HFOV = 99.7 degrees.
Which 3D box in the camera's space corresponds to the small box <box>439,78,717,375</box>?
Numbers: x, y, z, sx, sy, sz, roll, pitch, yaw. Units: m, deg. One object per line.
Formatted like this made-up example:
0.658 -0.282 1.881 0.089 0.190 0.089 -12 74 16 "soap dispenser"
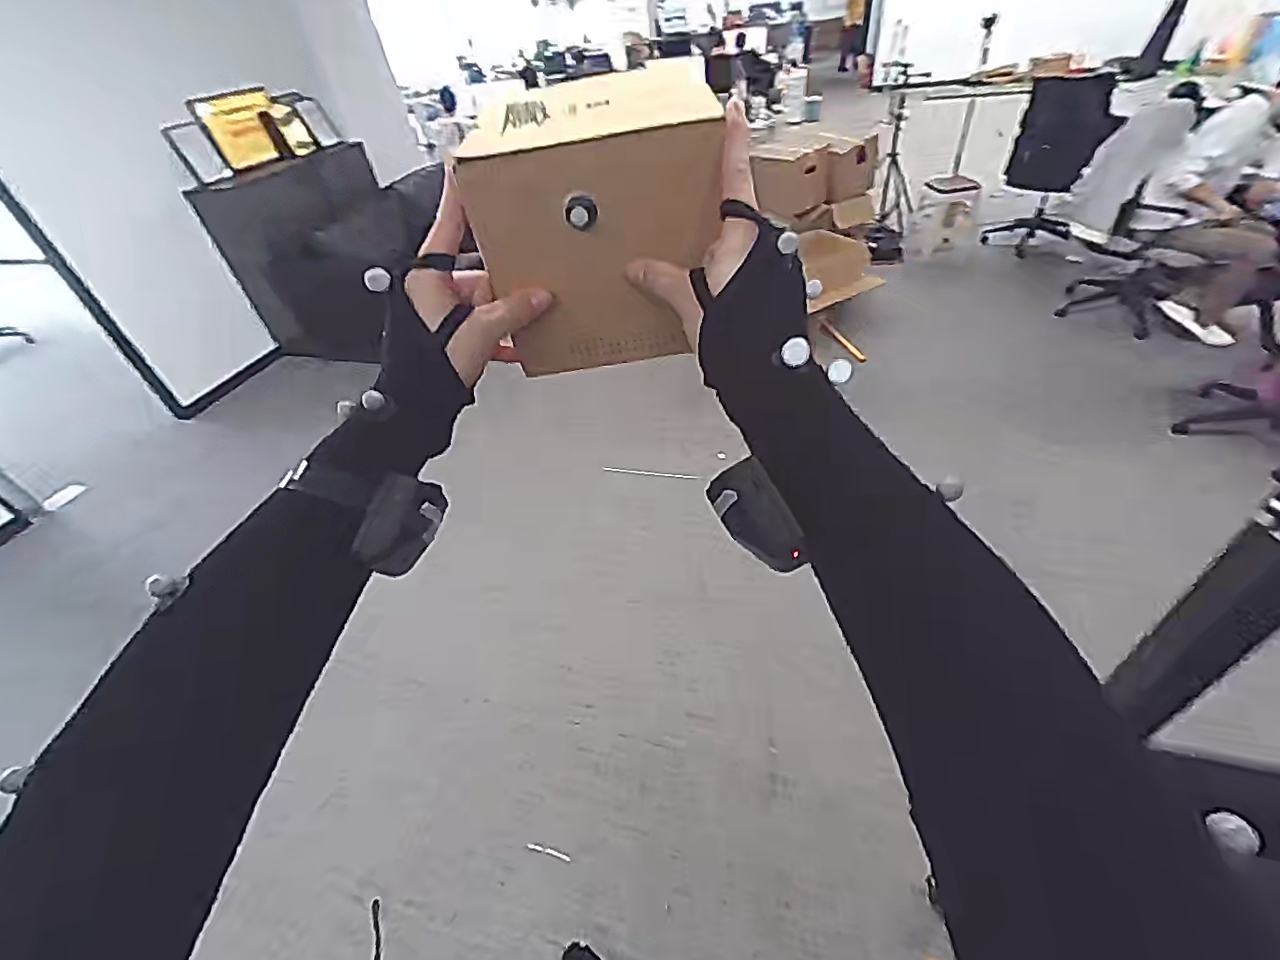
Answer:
-0.037 -0.206 0.451 0.179 0.176 0.168 -9 46 3 "small box"
